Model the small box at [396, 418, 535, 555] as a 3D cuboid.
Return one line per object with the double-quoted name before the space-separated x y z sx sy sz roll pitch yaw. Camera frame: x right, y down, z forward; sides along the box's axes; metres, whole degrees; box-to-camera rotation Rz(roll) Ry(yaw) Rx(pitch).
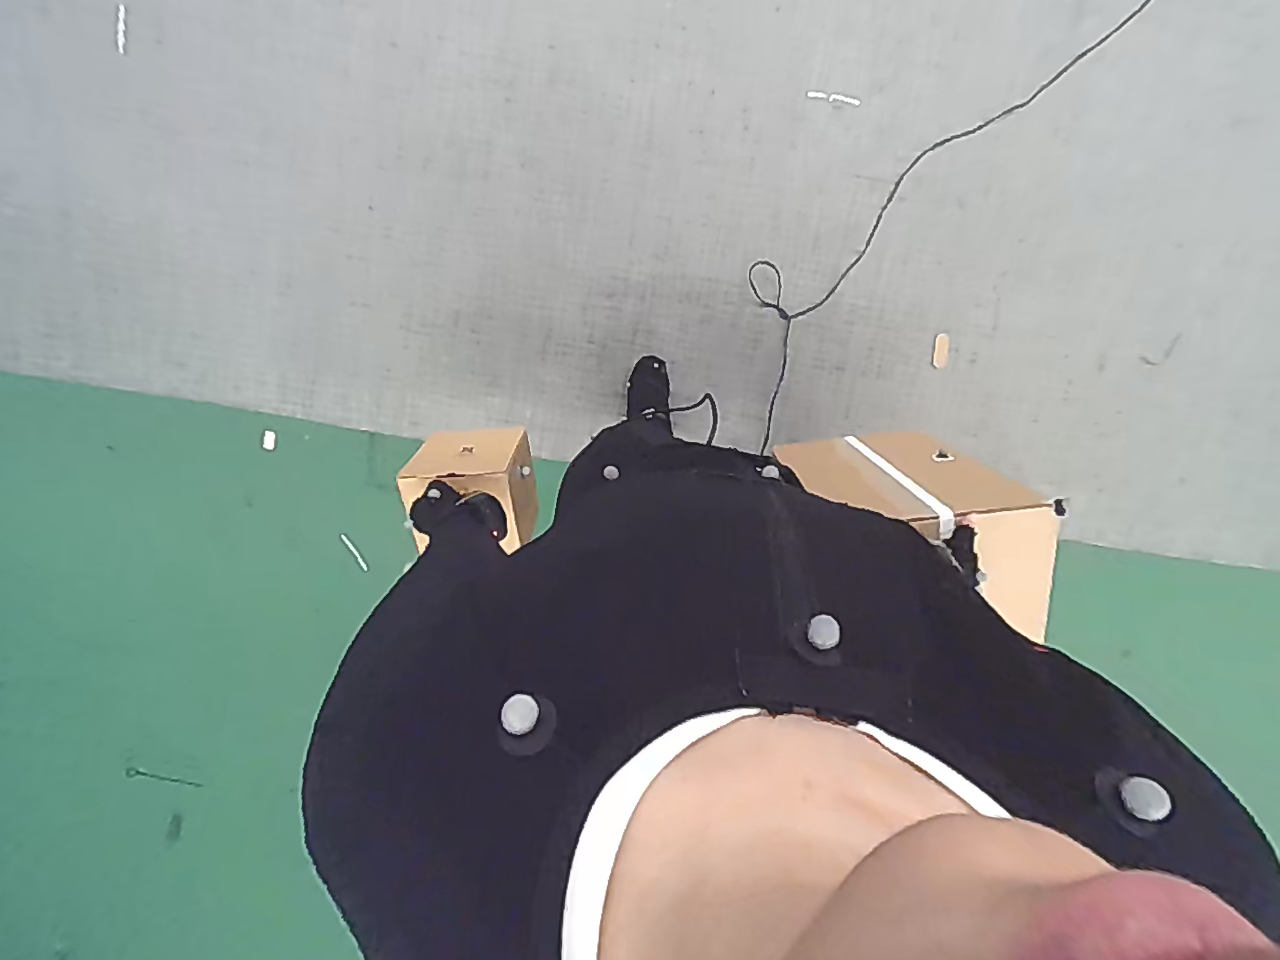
"small box" -0.280 0.008 0.912 0.168 0.179 0.176 -3 120 2
